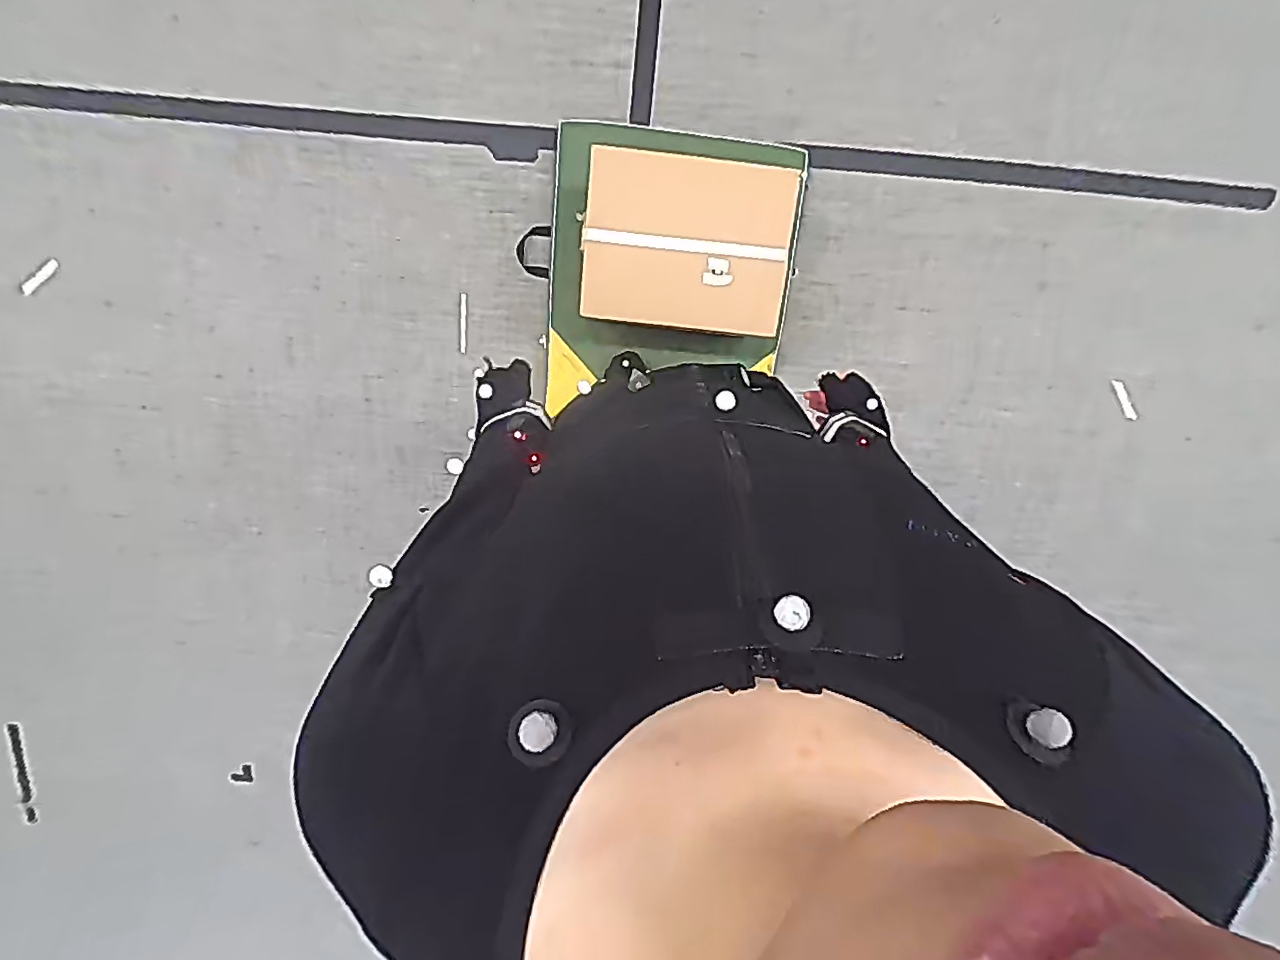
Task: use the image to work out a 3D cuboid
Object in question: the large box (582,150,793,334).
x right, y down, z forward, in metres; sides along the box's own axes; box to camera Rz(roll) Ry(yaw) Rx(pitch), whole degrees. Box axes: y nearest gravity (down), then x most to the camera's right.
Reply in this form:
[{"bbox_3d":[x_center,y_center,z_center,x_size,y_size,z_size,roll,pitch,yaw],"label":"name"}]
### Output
[{"bbox_3d":[0.083,-0.505,1.219,0.408,0.320,0.320,5,105,-3],"label":"large box"}]
